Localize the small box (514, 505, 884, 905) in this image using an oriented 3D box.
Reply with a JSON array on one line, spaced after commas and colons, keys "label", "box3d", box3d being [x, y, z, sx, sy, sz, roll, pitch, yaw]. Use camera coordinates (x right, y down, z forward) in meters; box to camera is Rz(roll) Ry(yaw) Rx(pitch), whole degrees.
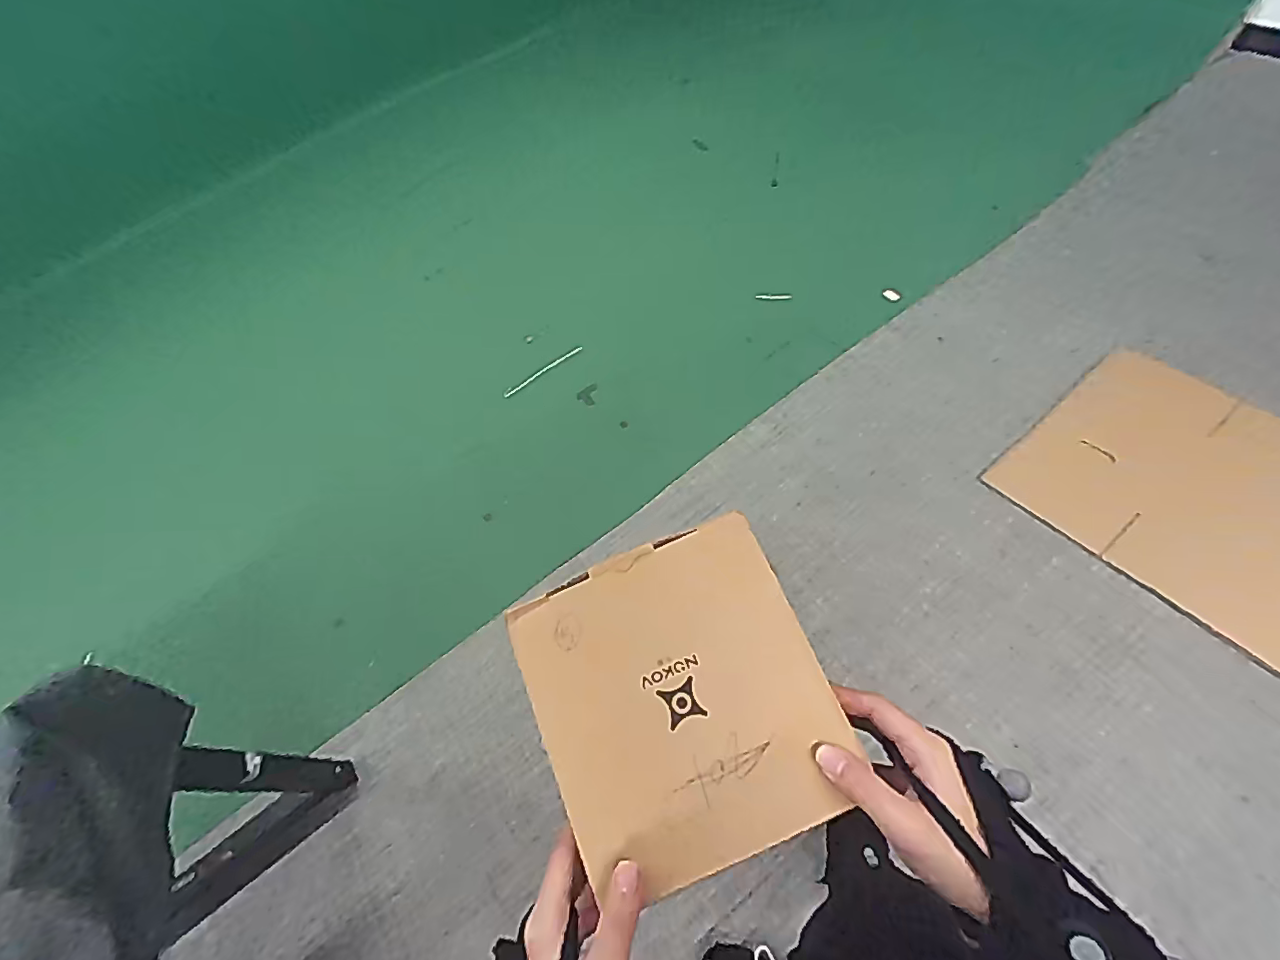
[{"label": "small box", "box3d": [0.032, 0.144, 0.388, 0.168, 0.176, 0.179, -23, 72, -2]}]
